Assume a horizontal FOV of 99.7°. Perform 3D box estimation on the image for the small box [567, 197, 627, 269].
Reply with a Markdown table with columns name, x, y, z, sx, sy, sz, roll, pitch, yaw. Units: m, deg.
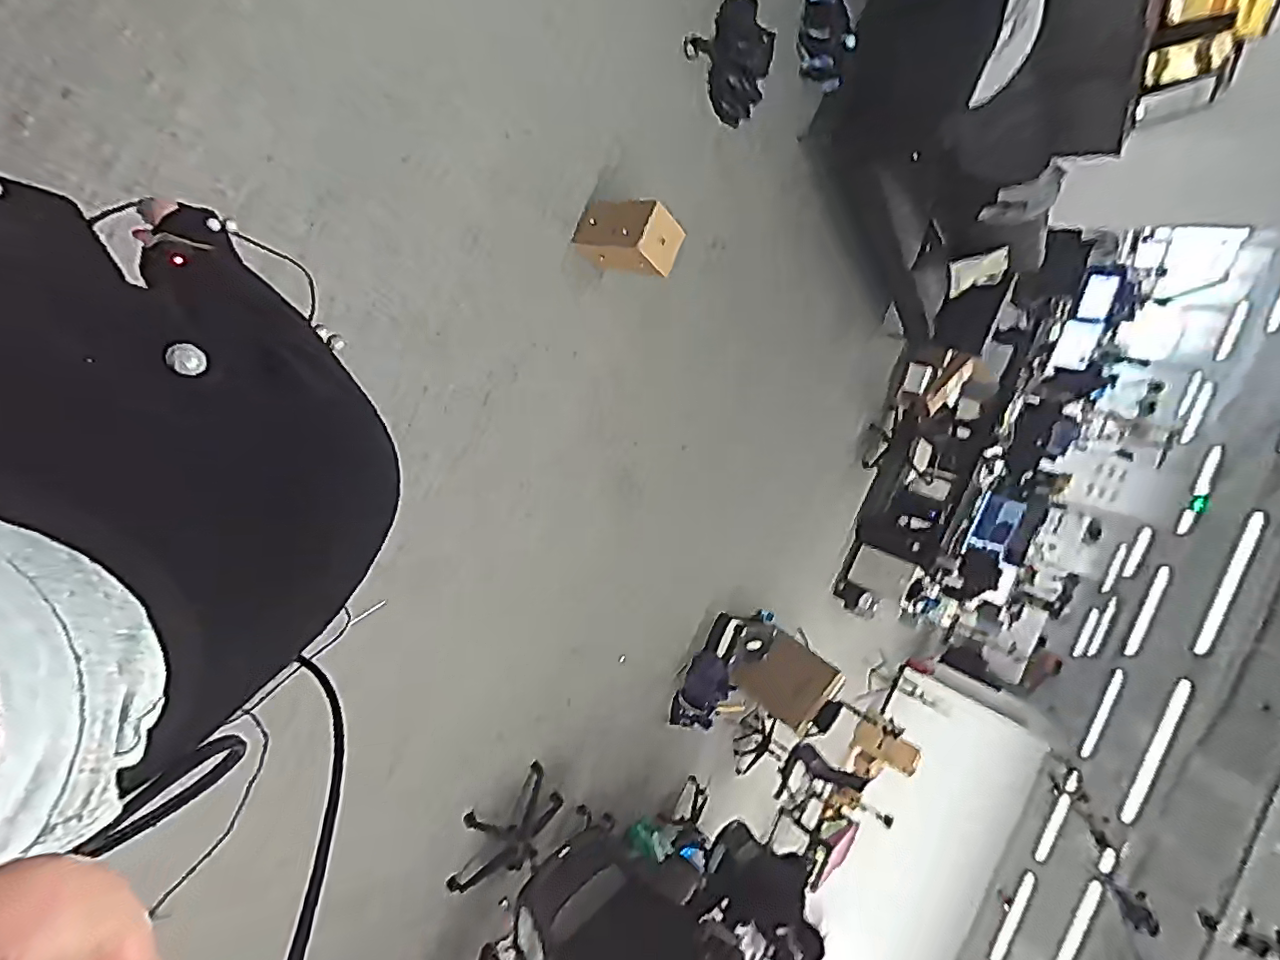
| name | x | y | z | sx | sy | sz | roll | pitch | yaw |
| --- | --- | --- | --- | --- | --- | --- | --- | --- | --- |
| small box | -0.125 | -0.862 | 1.889 | 0.179 | 0.176 | 0.168 | 20 | 94 | -53 |

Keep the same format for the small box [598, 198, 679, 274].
| name | x | y | z | sx | sy | sz | roll | pitch | yaw |
| --- | --- | --- | --- | --- | --- | --- | --- | --- | --- |
| small box | -0.008 | -0.807 | 1.790 | 0.179 | 0.176 | 0.168 | 21 | 94 | -55 |
